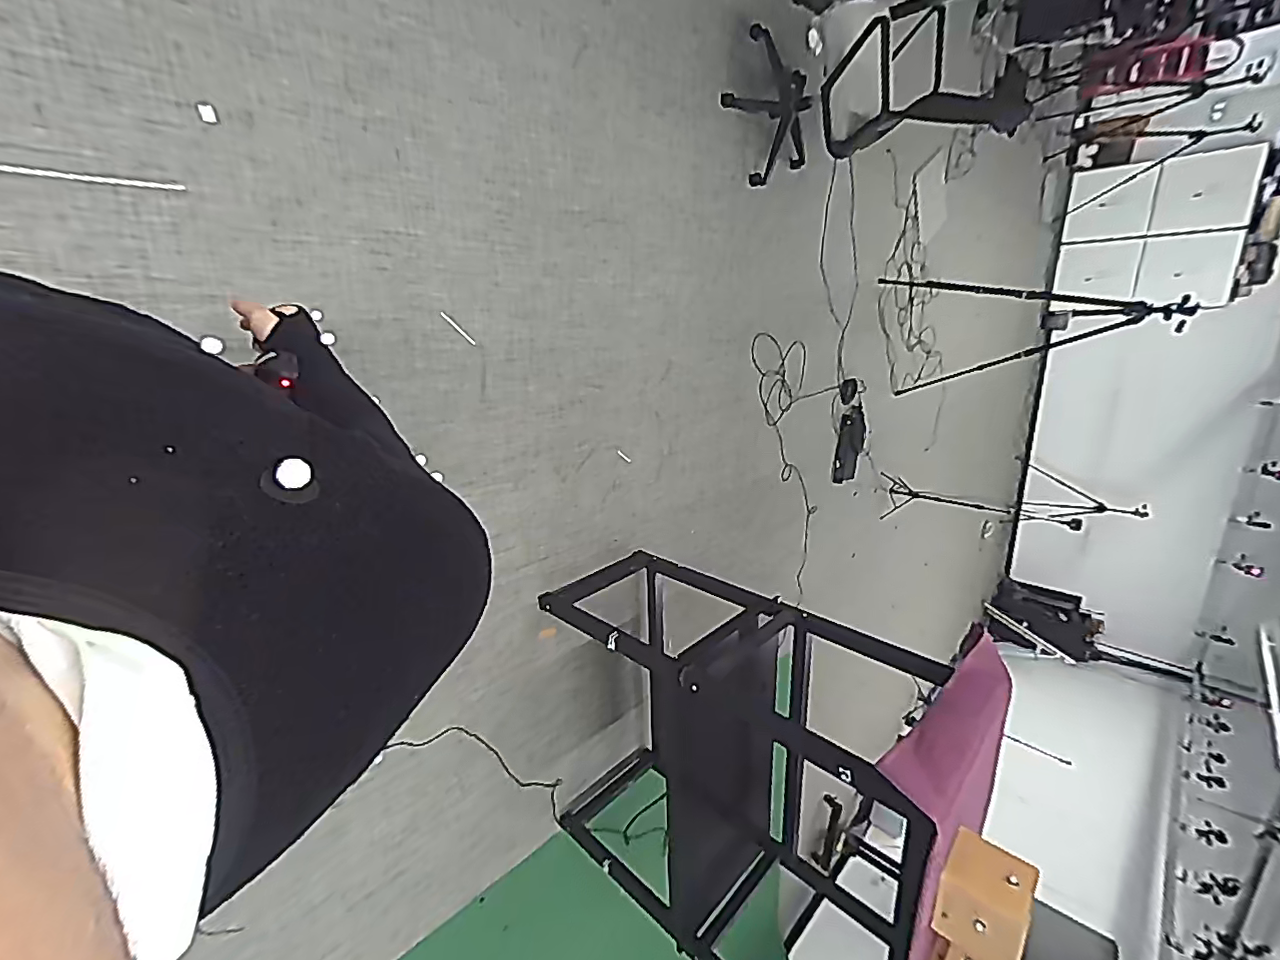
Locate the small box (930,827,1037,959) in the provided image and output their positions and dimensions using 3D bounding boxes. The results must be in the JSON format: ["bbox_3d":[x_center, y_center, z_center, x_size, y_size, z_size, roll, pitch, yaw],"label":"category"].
[{"bbox_3d":[0.790,0.963,1.248,0.179,0.176,0.168,-18,113,-44],"label":"small box"}]
